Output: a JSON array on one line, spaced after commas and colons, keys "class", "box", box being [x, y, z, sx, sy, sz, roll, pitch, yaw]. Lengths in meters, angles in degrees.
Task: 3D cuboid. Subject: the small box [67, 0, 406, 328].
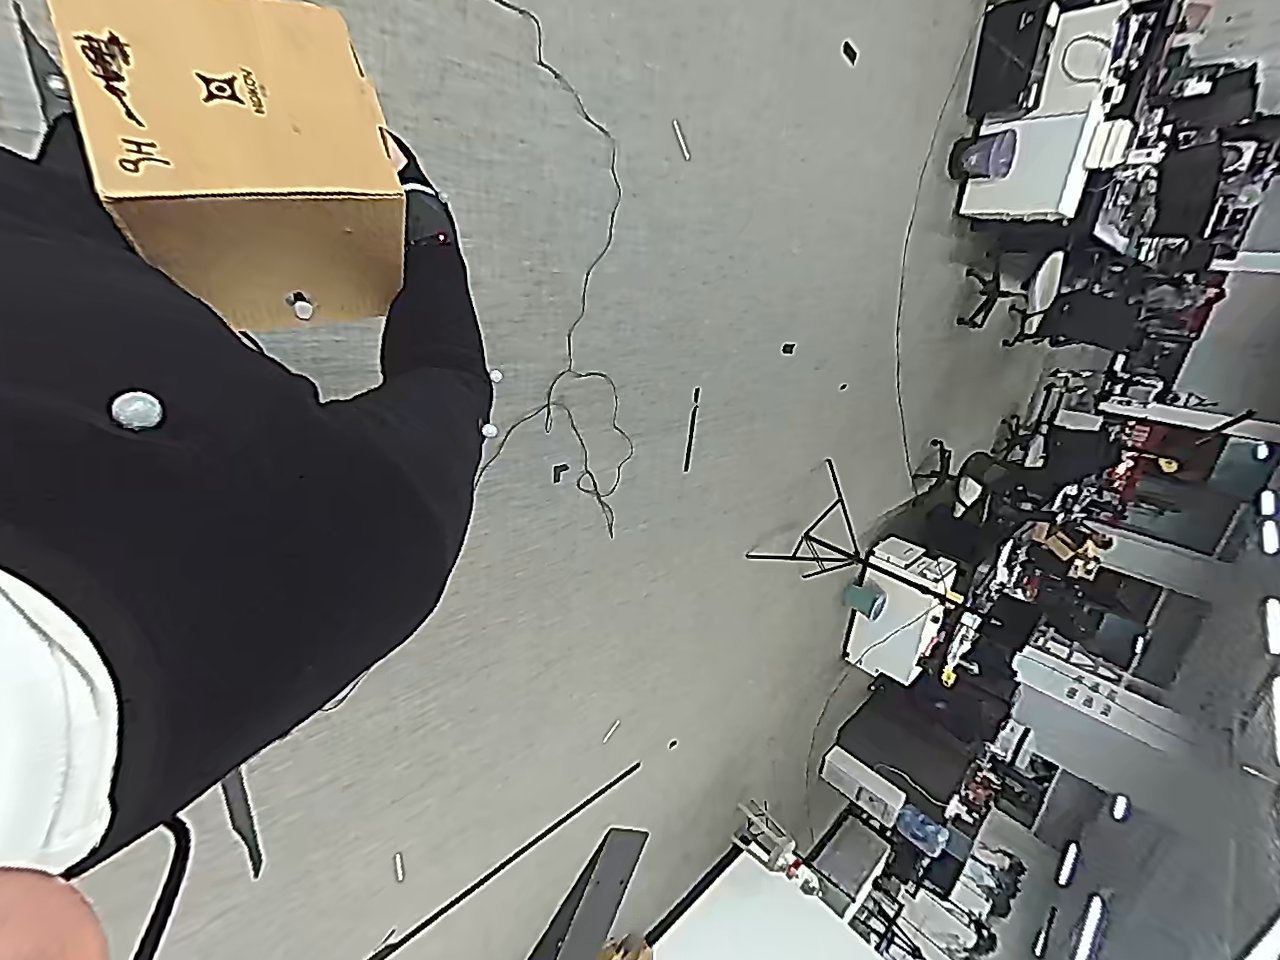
[{"class": "small box", "box": [-0.314, -0.249, 0.457, 0.179, 0.176, 0.168, -17, 81, -28]}]
